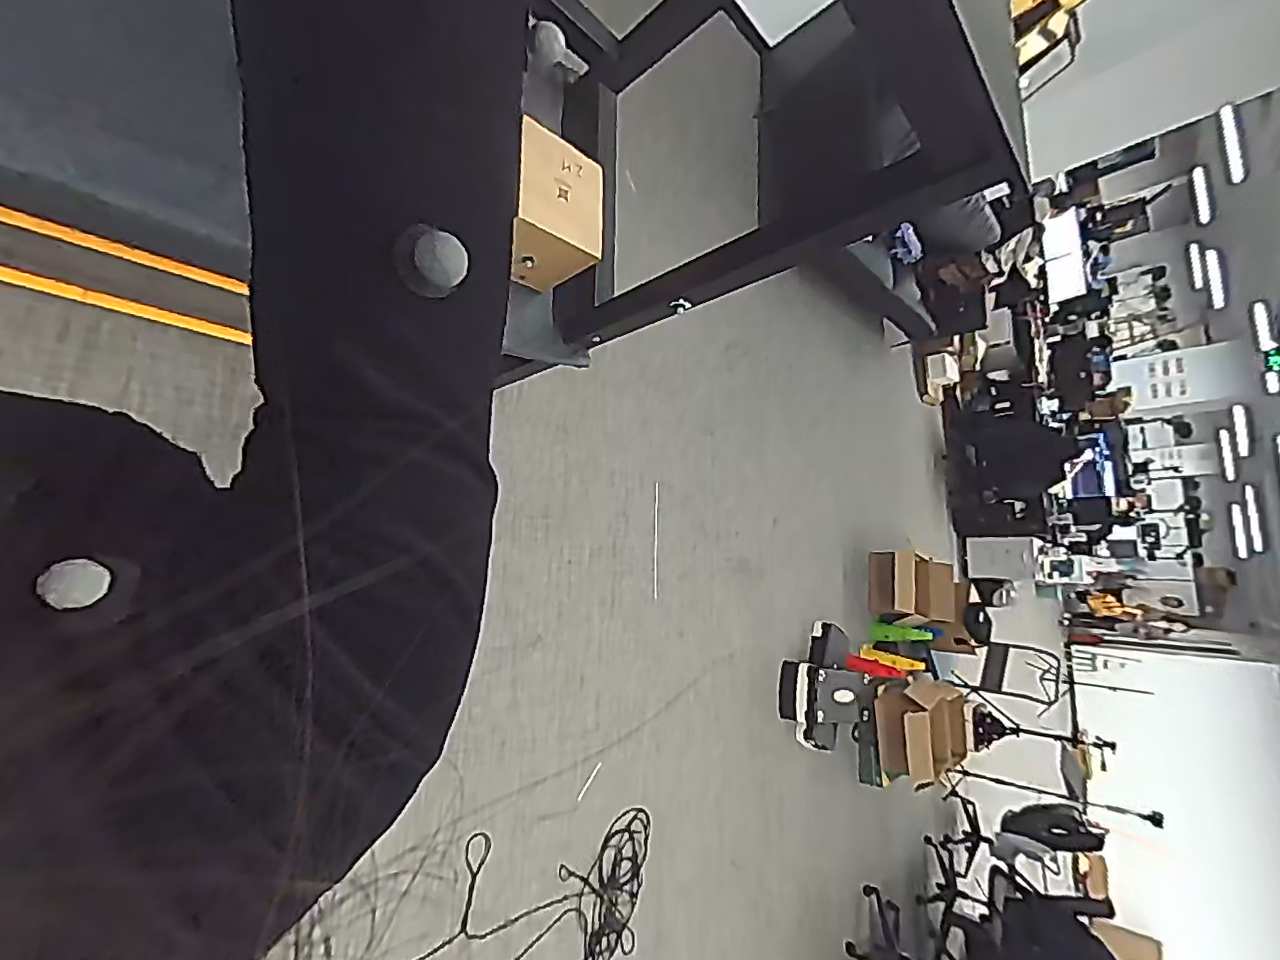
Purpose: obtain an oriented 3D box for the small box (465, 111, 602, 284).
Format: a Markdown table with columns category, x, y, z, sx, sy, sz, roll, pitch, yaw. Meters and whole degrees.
| category | x | y | z | sx | sy | sz | roll | pitch | yaw |
| --- | --- | --- | --- | --- | --- | --- | --- | --- | --- |
| small box | -0.183 | -0.463 | 0.924 | 0.168 | 0.176 | 0.179 | 9 | 78 | -46 |
